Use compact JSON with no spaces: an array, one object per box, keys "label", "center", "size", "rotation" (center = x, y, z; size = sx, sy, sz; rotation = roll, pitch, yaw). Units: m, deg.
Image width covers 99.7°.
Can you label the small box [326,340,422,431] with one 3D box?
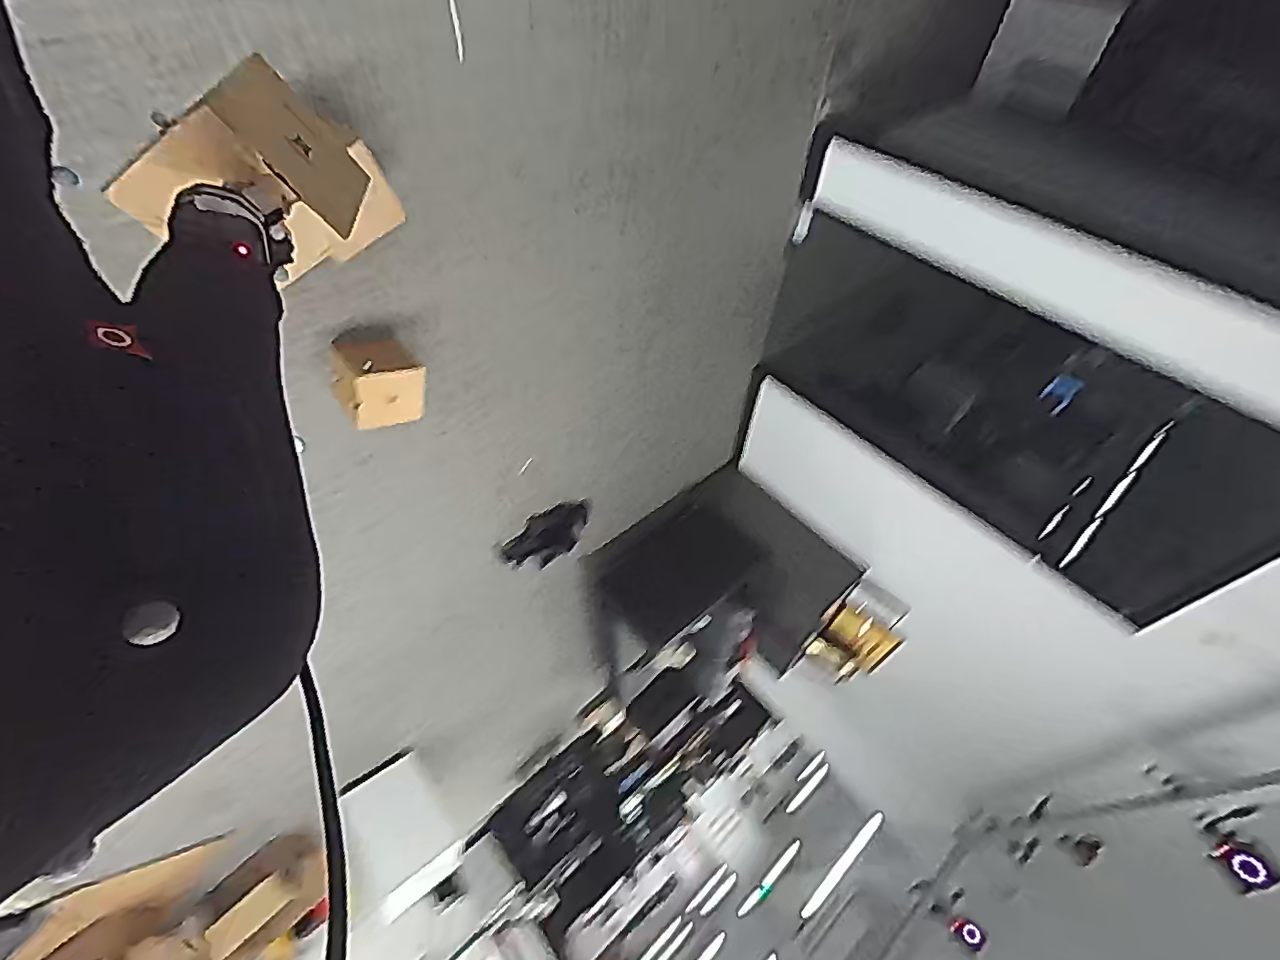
[{"label":"small box","center":[-0.708,-0.258,1.442],"size":[0.179,0.176,0.168],"rotation":[-20,144,-41]}]
